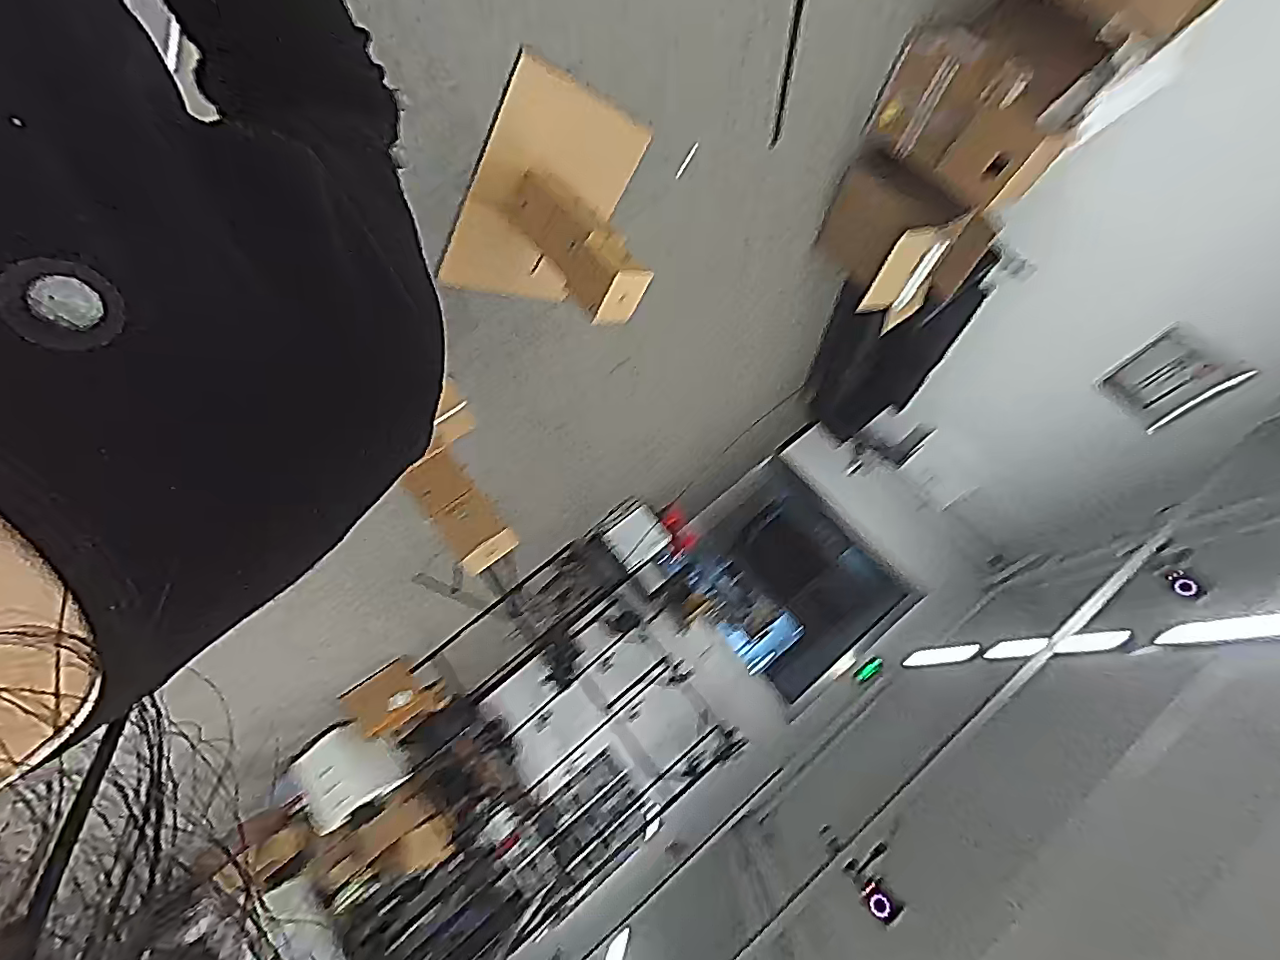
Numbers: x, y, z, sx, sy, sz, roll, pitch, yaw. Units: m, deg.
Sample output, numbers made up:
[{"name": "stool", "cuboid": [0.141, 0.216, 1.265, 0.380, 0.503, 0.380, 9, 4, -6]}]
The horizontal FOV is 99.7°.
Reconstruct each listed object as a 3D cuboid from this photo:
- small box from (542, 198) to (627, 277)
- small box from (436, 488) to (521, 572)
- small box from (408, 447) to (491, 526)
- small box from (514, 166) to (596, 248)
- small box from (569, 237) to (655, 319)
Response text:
[{"name": "small box", "cuboid": [-0.180, -0.748, 1.697, 0.168, 0.176, 0.179, -16, 151, -52]}, {"name": "small box", "cuboid": [-0.490, 0.151, 1.649, 0.168, 0.176, 0.179, -37, 162, -14]}, {"name": "small box", "cuboid": [-0.596, 0.030, 1.687, 0.179, 0.176, 0.168, -38, 163, -13]}, {"name": "small box", "cuboid": [-0.282, -0.868, 1.748, 0.168, 0.176, 0.179, -17, 152, -51]}, {"name": "small box", "cuboid": [-0.092, -0.618, 1.654, 0.168, 0.176, 0.179, -21, 155, -45]}]
